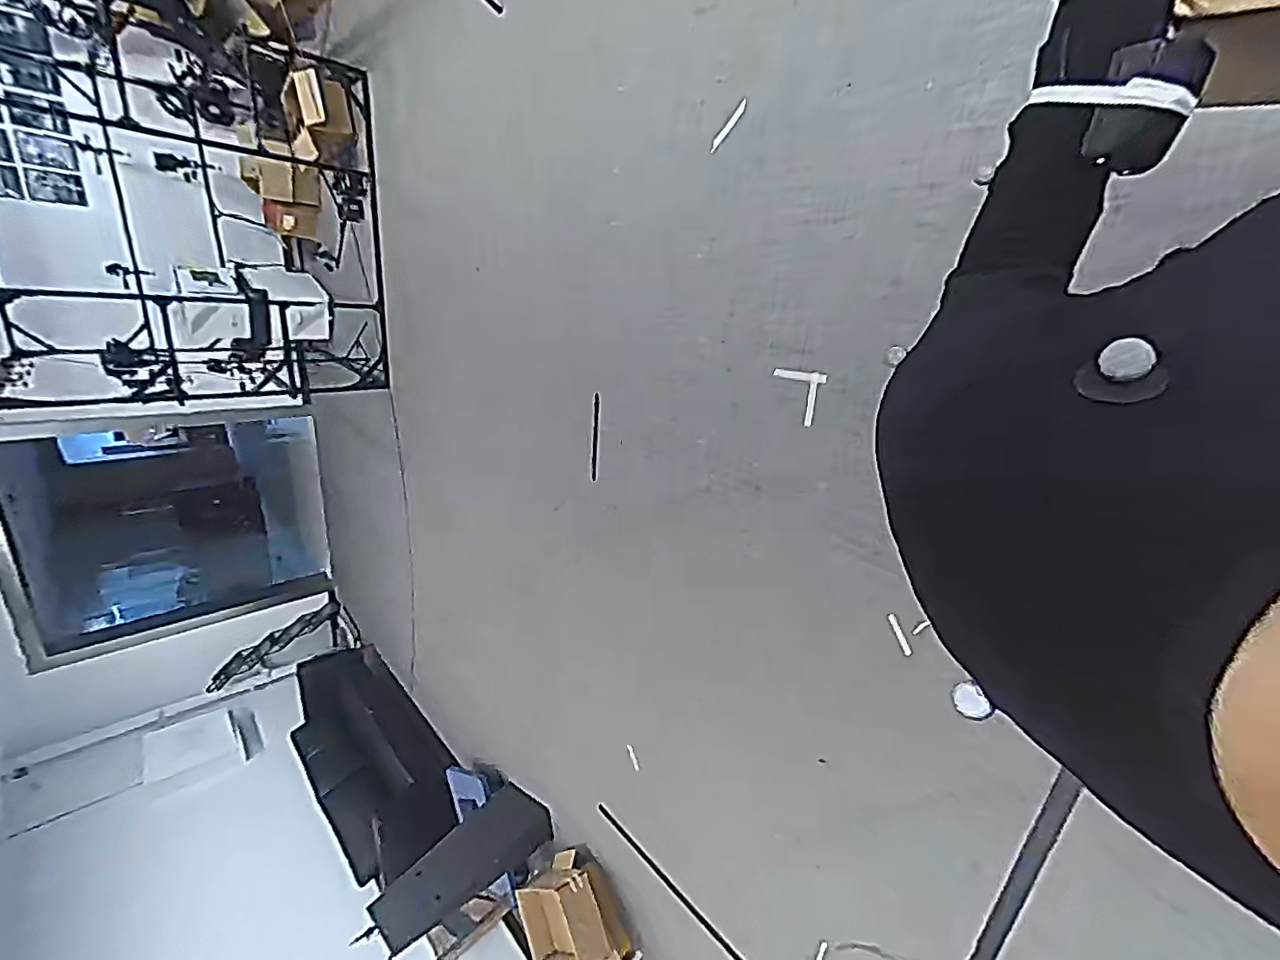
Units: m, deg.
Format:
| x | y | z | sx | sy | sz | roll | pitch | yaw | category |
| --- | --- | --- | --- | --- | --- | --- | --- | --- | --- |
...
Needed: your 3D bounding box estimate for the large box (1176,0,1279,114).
| x | y | z | sx | sy | sz | roll | pitch | yaw | category |
| --- | --- | --- | --- | --- | --- | --- | --- | --- | --- |
| 0.579 | -0.395 | 0.252 | 0.408 | 0.320 | 0.320 | 25 | 123 | 37 | large box |
